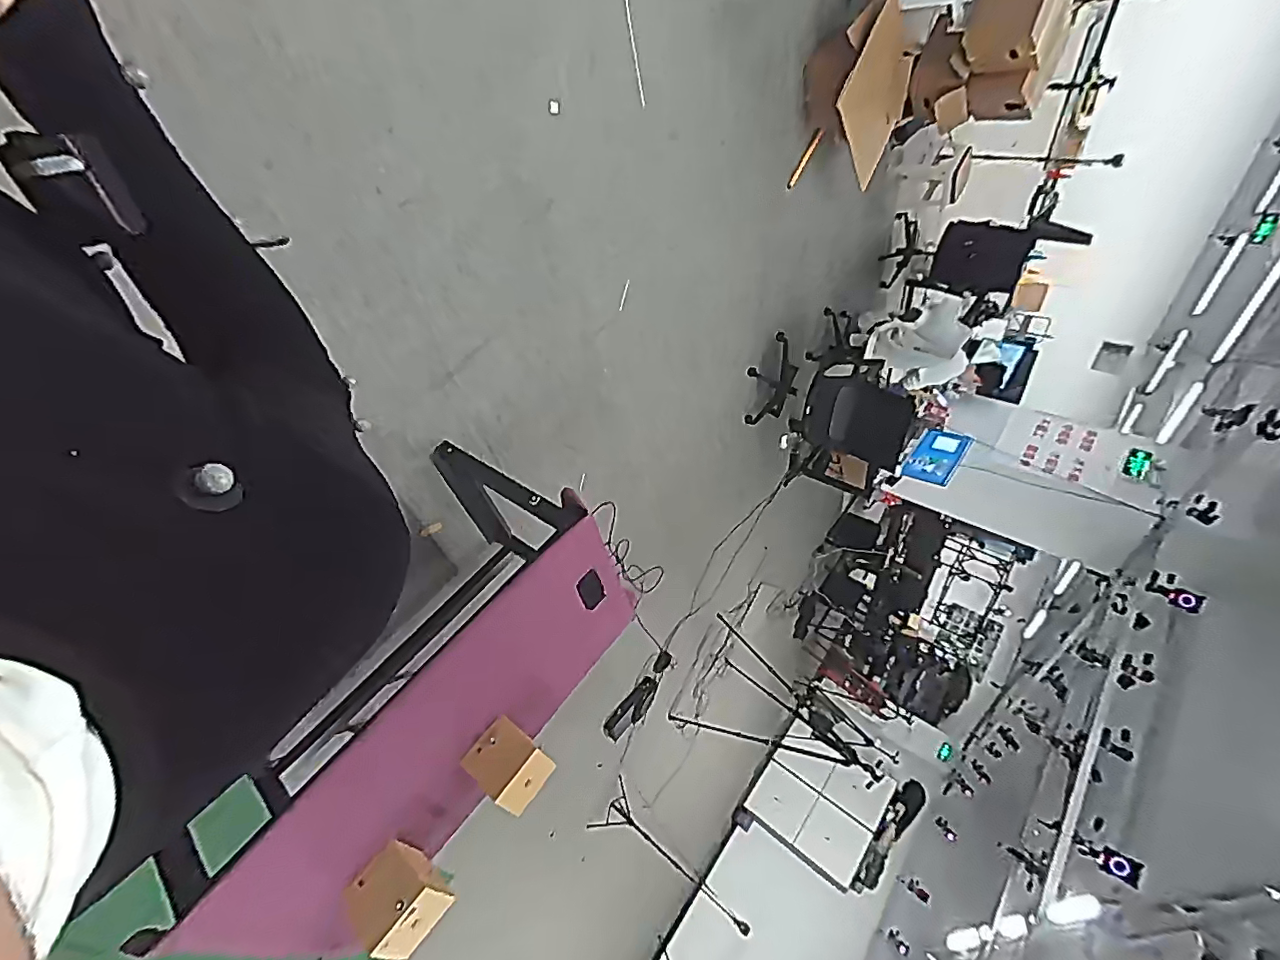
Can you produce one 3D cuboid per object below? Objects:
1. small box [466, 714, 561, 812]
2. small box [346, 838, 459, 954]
[{"bbox_3d":[-0.360,0.807,1.551,0.168,0.176,0.179,-47,142,-25],"label":"small box"},{"bbox_3d":[-0.606,1.059,1.384,0.168,0.176,0.179,-46,143,-27],"label":"small box"}]
